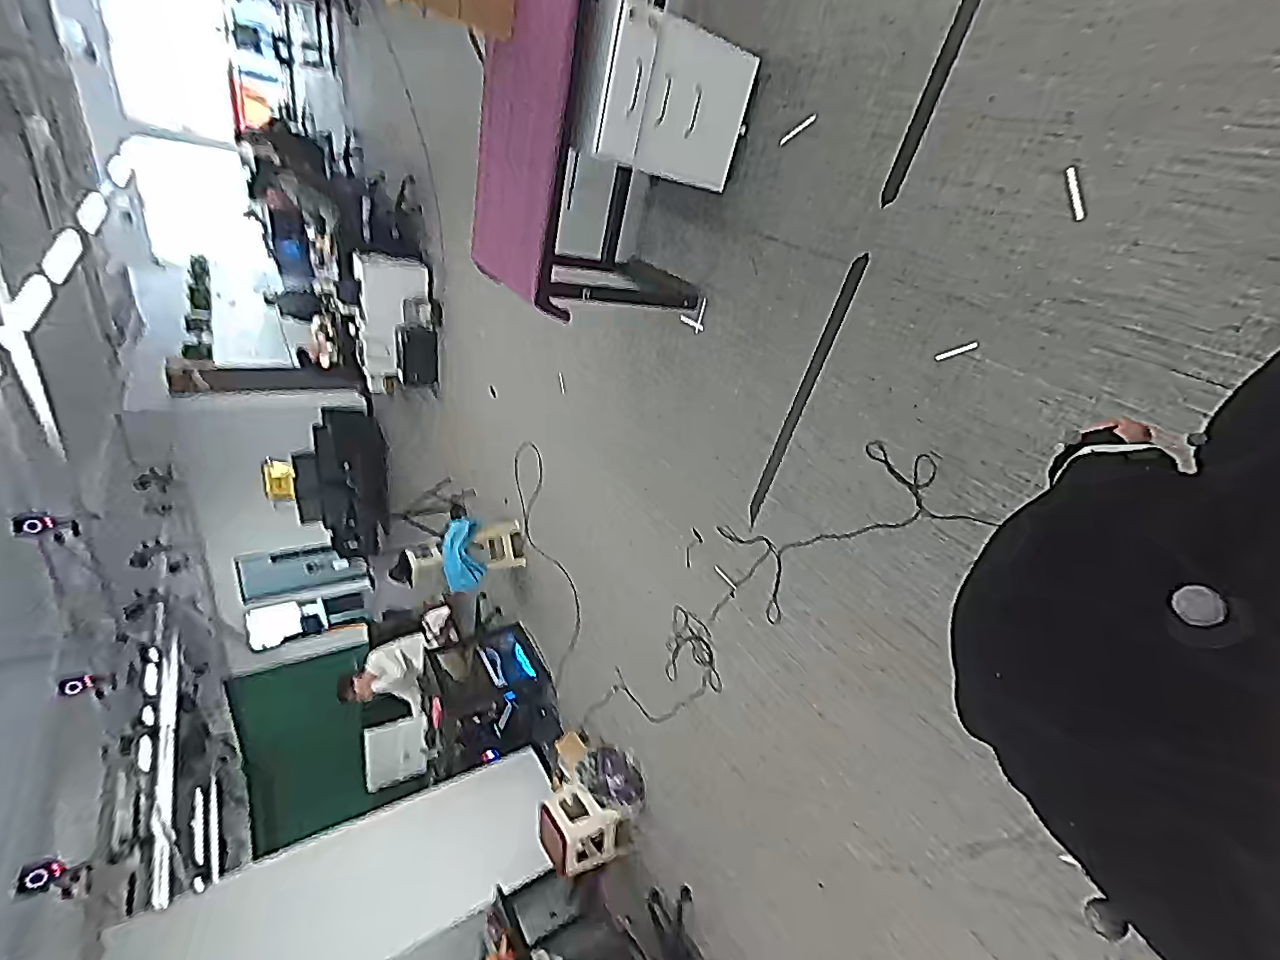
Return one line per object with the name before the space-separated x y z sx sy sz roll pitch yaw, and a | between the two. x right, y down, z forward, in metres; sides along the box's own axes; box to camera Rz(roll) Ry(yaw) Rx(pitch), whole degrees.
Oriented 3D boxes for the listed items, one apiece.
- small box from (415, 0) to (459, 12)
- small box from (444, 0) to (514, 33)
small box | -0.617 -1.476 1.544 0.168 0.176 0.179 49 135 36
small box | -0.483 -1.497 1.637 0.168 0.176 0.179 48 134 38
